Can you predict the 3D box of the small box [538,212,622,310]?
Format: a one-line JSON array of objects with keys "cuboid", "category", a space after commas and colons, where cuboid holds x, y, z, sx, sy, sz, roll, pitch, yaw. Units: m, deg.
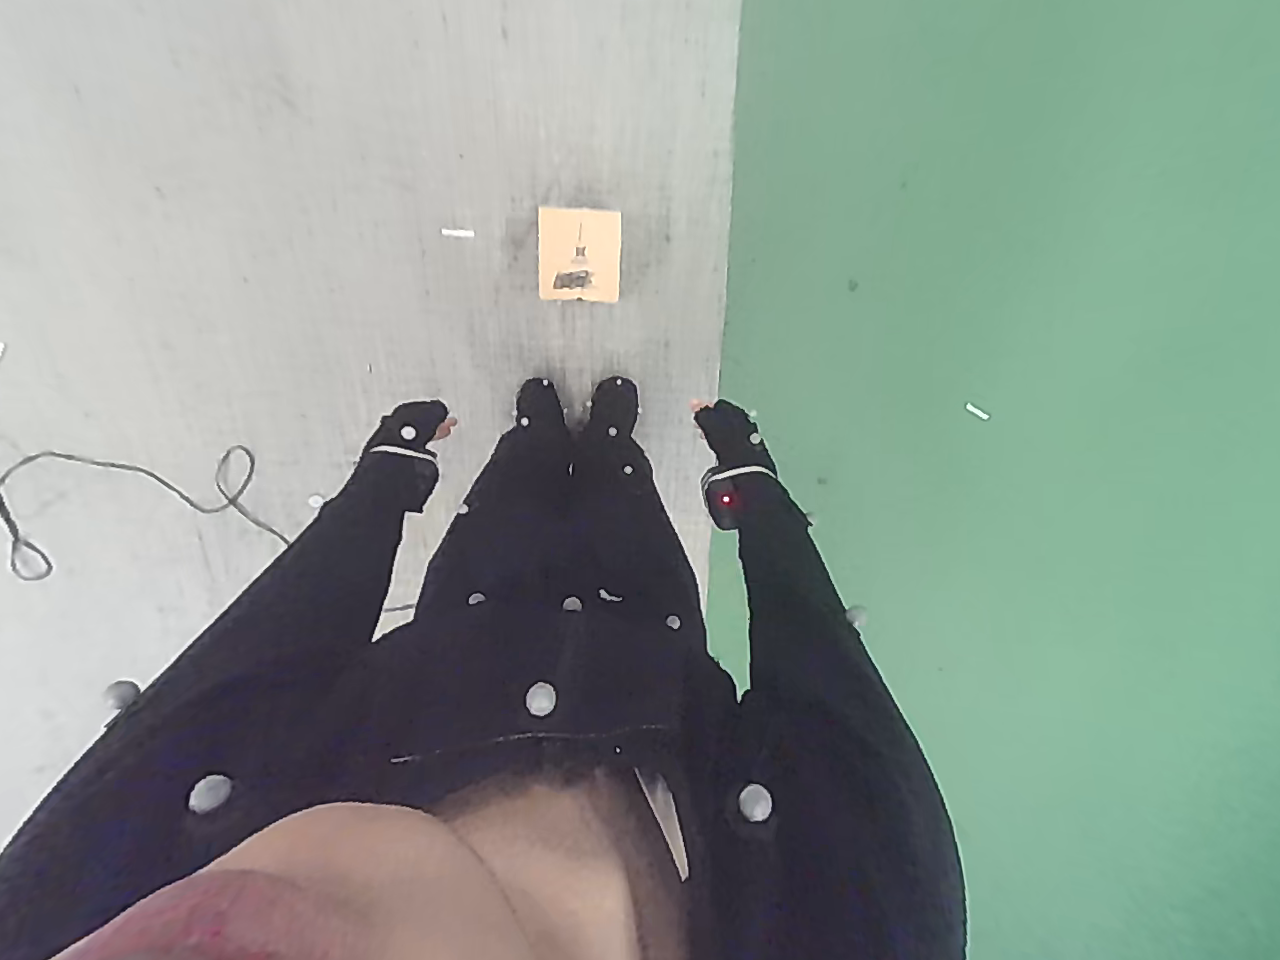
[{"cuboid": [-0.127, -0.464, 1.164, 0.168, 0.176, 0.179, 2, 108, -5], "category": "small box"}]
